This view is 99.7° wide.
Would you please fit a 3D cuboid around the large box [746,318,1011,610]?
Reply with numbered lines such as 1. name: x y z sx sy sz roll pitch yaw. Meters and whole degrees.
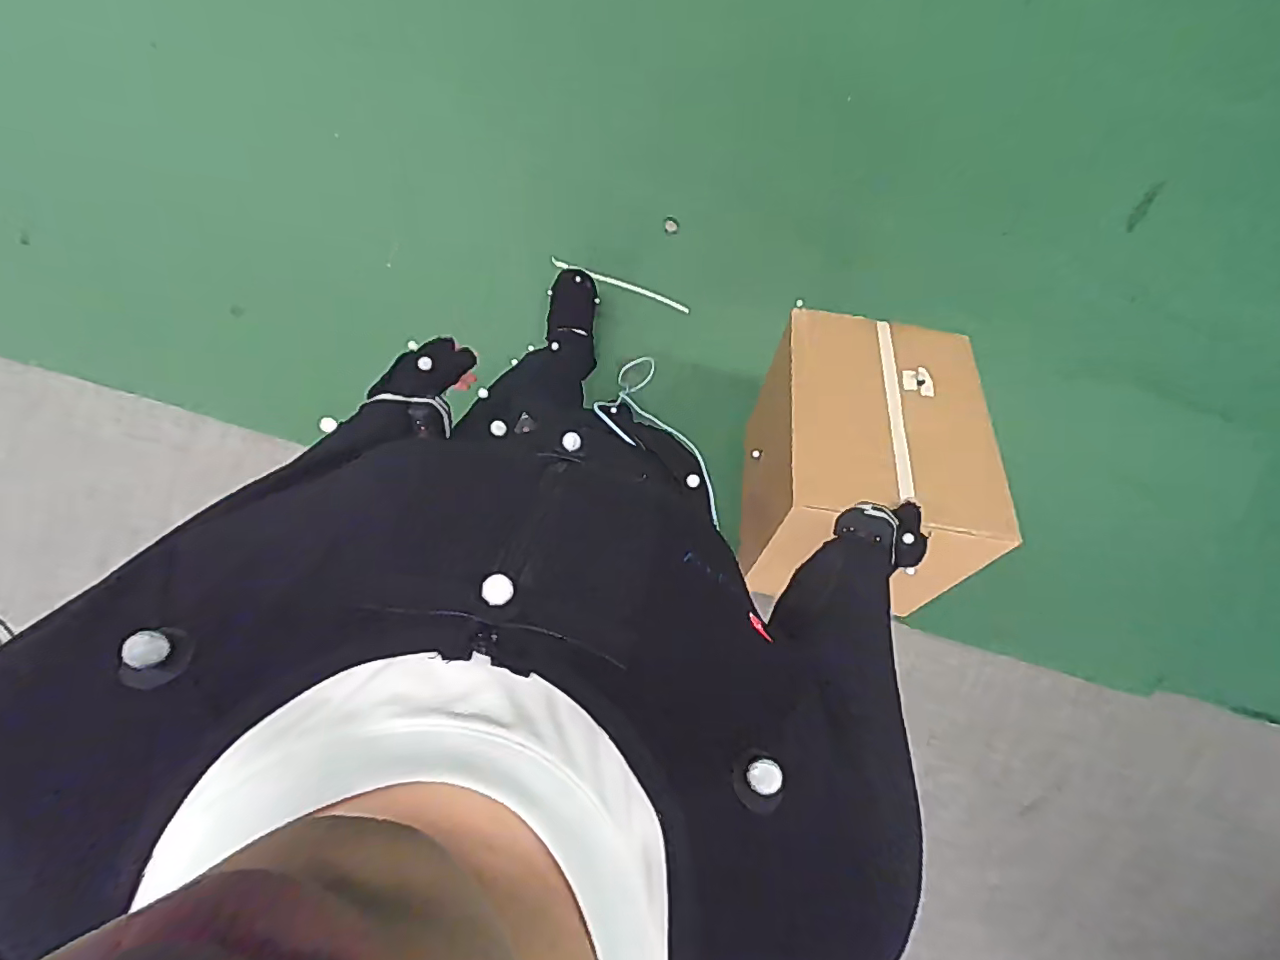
1. large box: 0.379 -0.021 0.976 0.320 0.320 0.408 10 57 0
